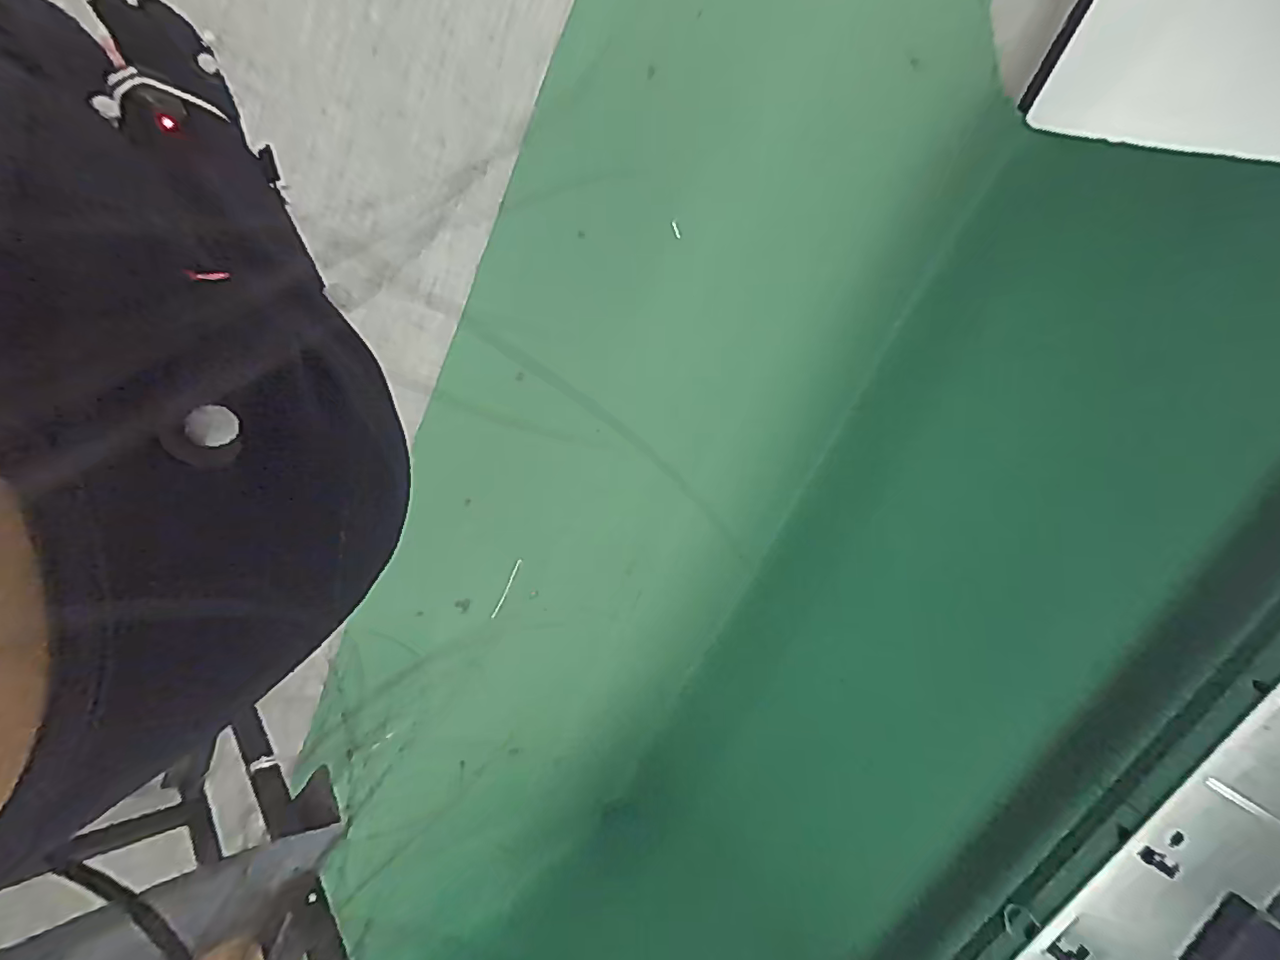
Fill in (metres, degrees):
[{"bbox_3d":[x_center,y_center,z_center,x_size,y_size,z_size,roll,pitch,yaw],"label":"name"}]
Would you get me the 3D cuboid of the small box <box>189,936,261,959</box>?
[{"bbox_3d":[-0.874,1.080,1.089,0.168,0.176,0.179,9,113,-52],"label":"small box"}]
